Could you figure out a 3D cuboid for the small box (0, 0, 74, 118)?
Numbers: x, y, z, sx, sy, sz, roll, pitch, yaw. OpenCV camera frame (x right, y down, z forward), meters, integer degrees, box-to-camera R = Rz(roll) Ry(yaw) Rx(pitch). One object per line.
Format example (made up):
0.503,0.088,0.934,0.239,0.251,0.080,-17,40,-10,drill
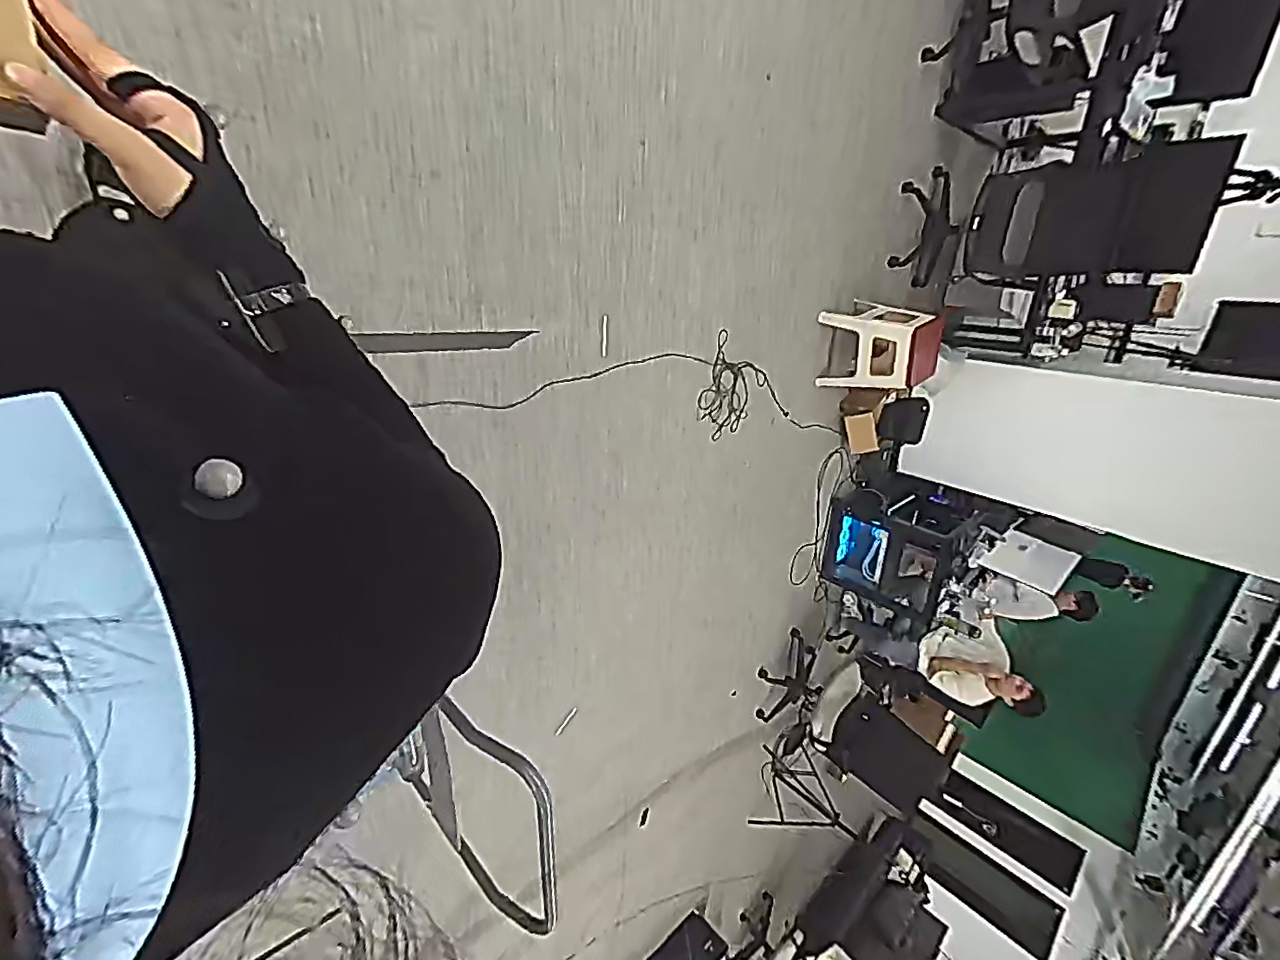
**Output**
-0.435,-0.321,0.283,0.168,0.176,0.179,-12,117,-45,small box
